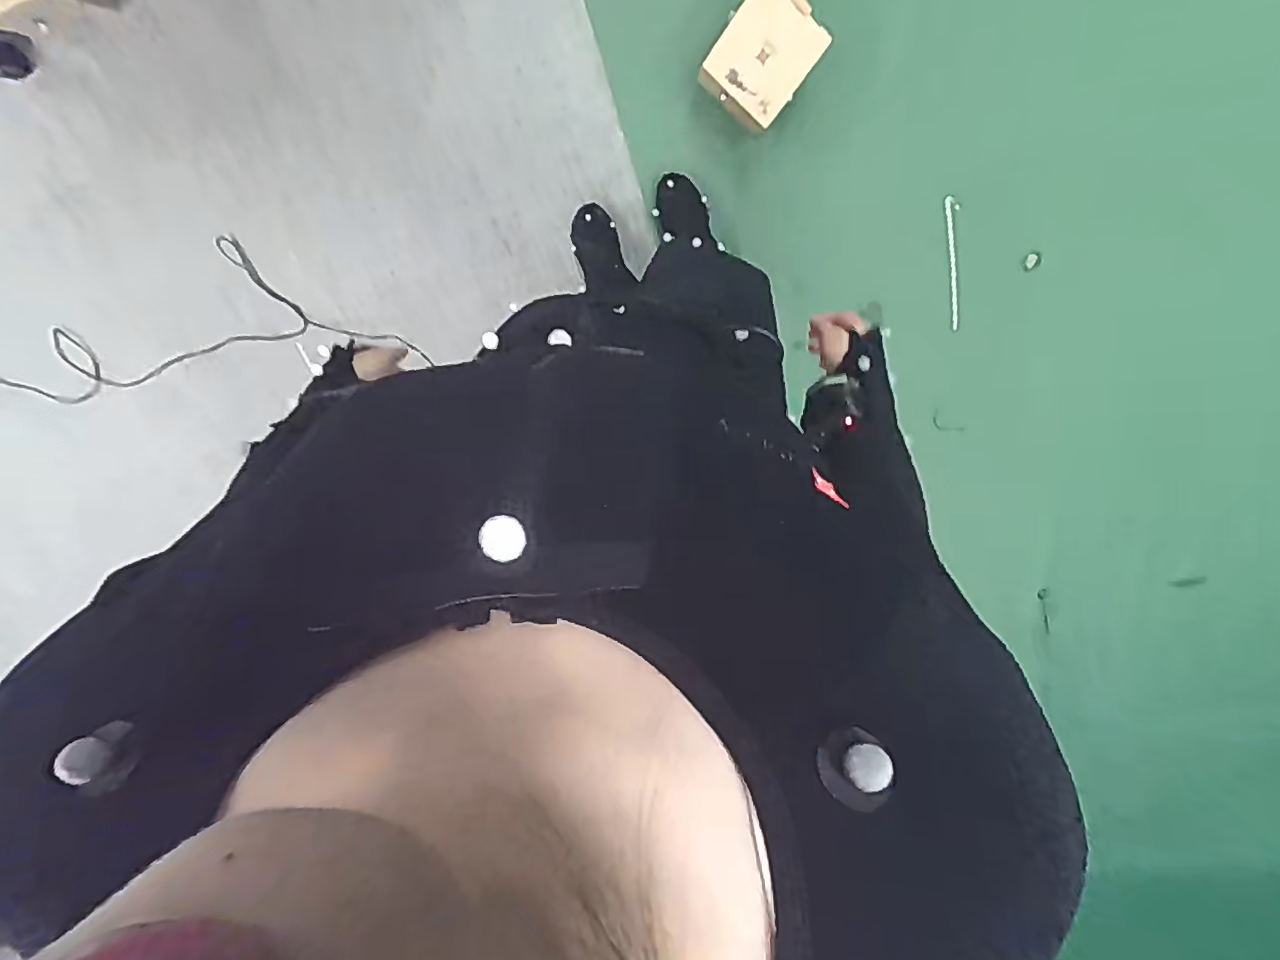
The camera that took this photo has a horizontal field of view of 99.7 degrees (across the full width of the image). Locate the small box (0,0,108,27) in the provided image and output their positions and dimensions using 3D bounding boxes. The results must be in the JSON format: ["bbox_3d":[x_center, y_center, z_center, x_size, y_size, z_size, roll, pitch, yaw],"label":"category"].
[{"bbox_3d":[-1.173,-0.979,1.003,0.168,0.176,0.179,-12,119,10],"label":"small box"}]

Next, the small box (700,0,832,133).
[{"bbox_3d":[0.230,-0.812,1.045,0.168,0.176,0.179,35,115,-17],"label":"small box"}]
